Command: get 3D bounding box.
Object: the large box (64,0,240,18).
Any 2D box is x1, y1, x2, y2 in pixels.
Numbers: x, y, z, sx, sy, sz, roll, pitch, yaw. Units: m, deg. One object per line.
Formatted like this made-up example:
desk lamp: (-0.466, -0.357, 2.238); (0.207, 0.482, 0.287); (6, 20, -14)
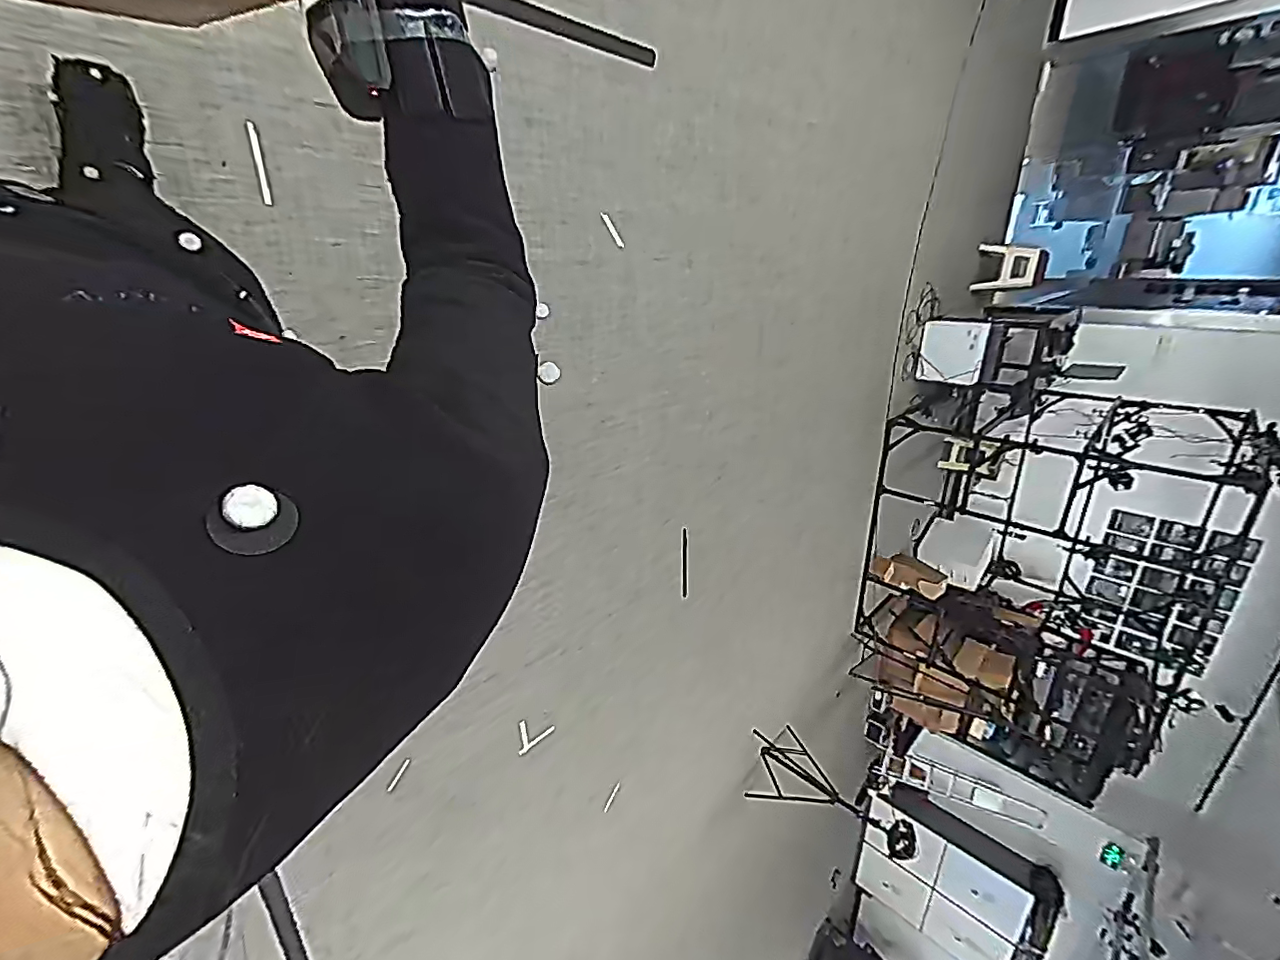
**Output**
large box: (-0.431, -0.407, 0.195); (0.408, 0.320, 0.320); (-23, 134, -38)
